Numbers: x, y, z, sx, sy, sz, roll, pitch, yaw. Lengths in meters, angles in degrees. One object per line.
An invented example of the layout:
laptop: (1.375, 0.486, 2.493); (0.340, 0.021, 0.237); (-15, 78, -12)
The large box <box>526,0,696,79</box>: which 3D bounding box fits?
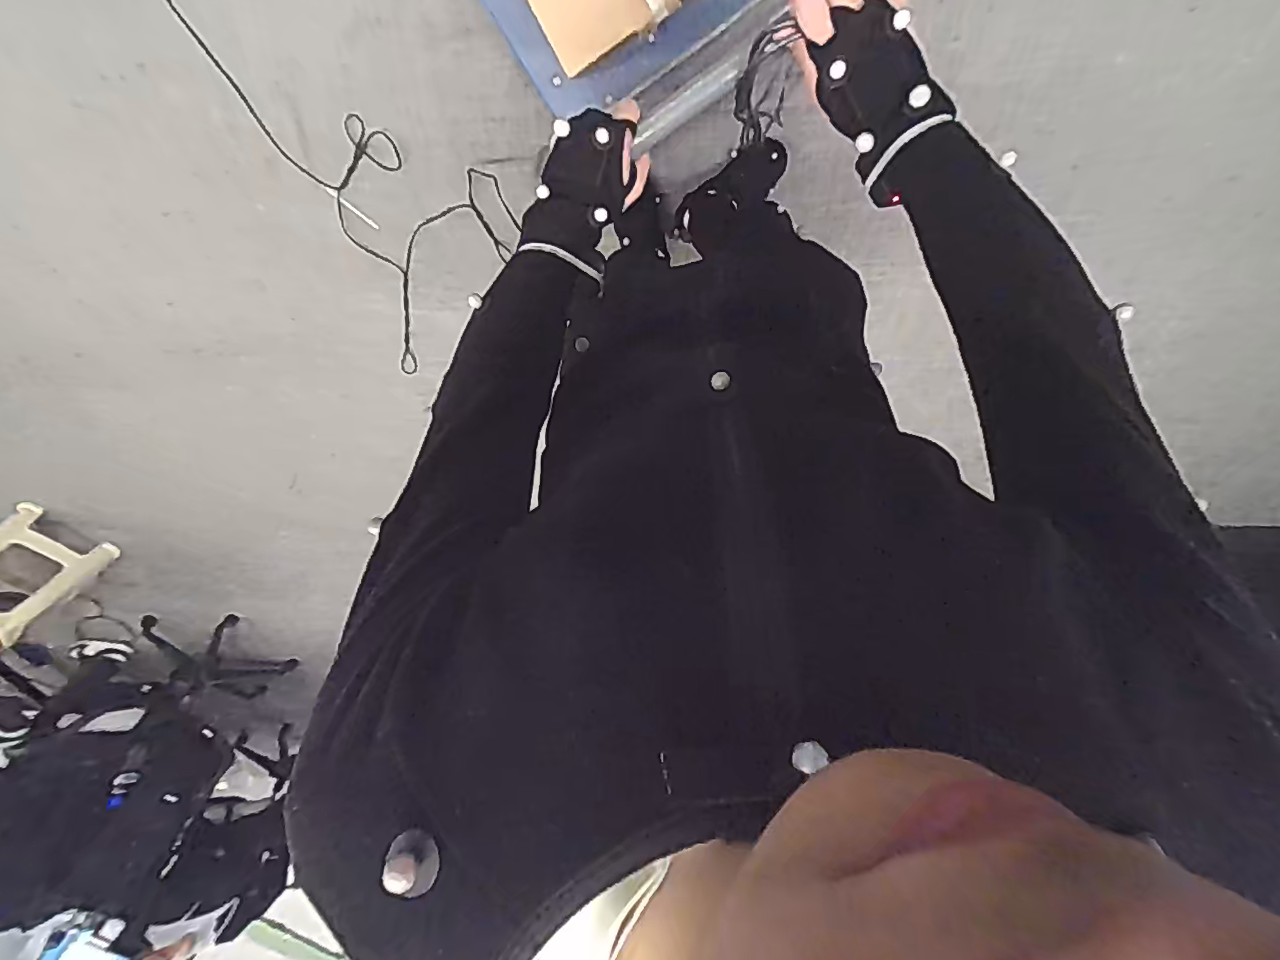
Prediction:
large box: (-0.063, -0.885, 0.779); (0.320, 0.320, 0.408); (-23, 123, 18)
